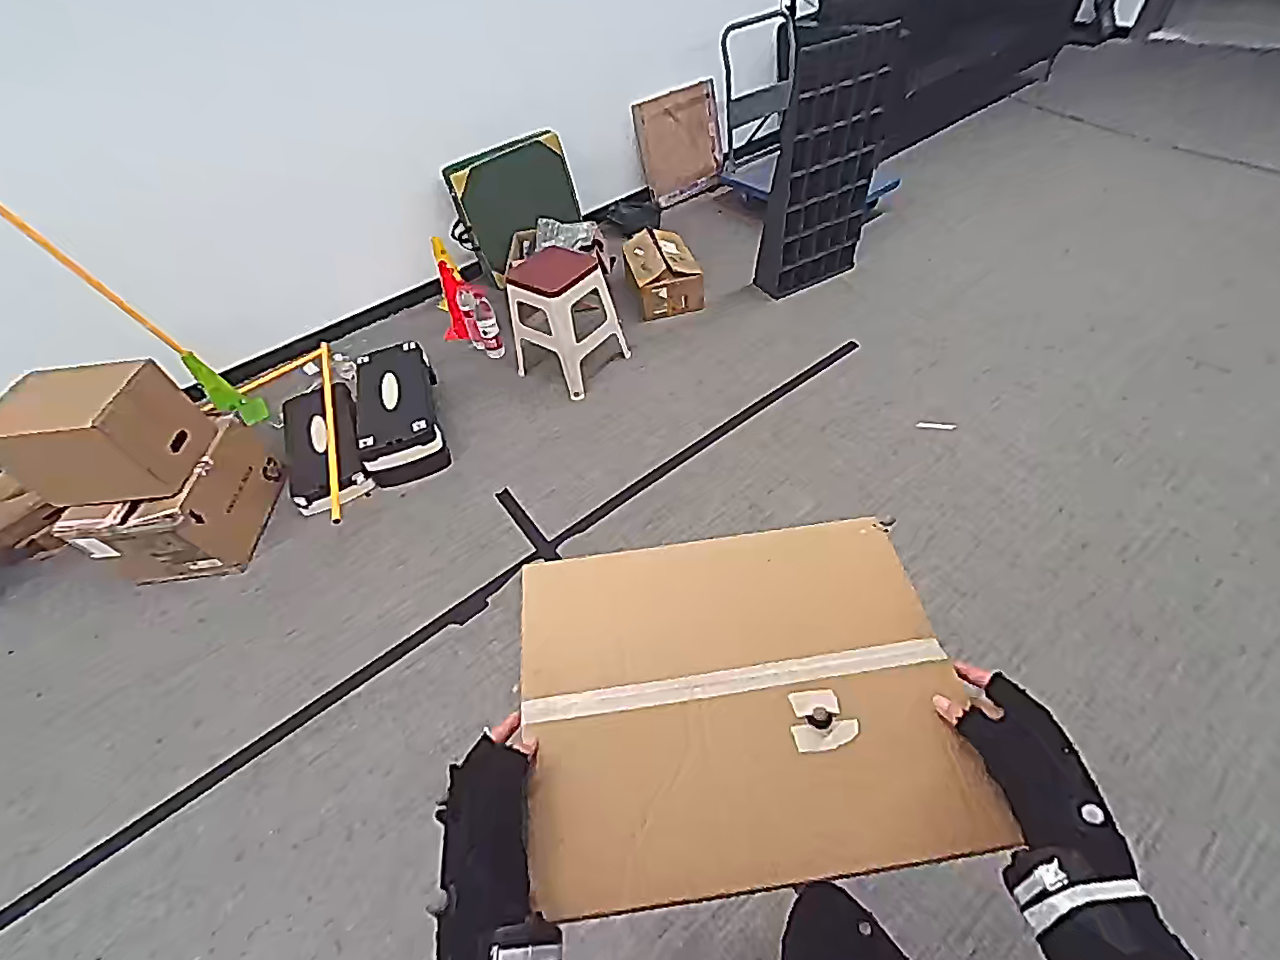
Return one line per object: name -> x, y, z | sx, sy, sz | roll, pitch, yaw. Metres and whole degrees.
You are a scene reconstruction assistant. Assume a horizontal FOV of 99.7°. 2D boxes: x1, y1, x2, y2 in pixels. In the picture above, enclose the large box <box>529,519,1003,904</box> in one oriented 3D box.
large box -> 0.097, 0.282, 0.649 | 0.408, 0.320, 0.320 | -8, 53, -2
